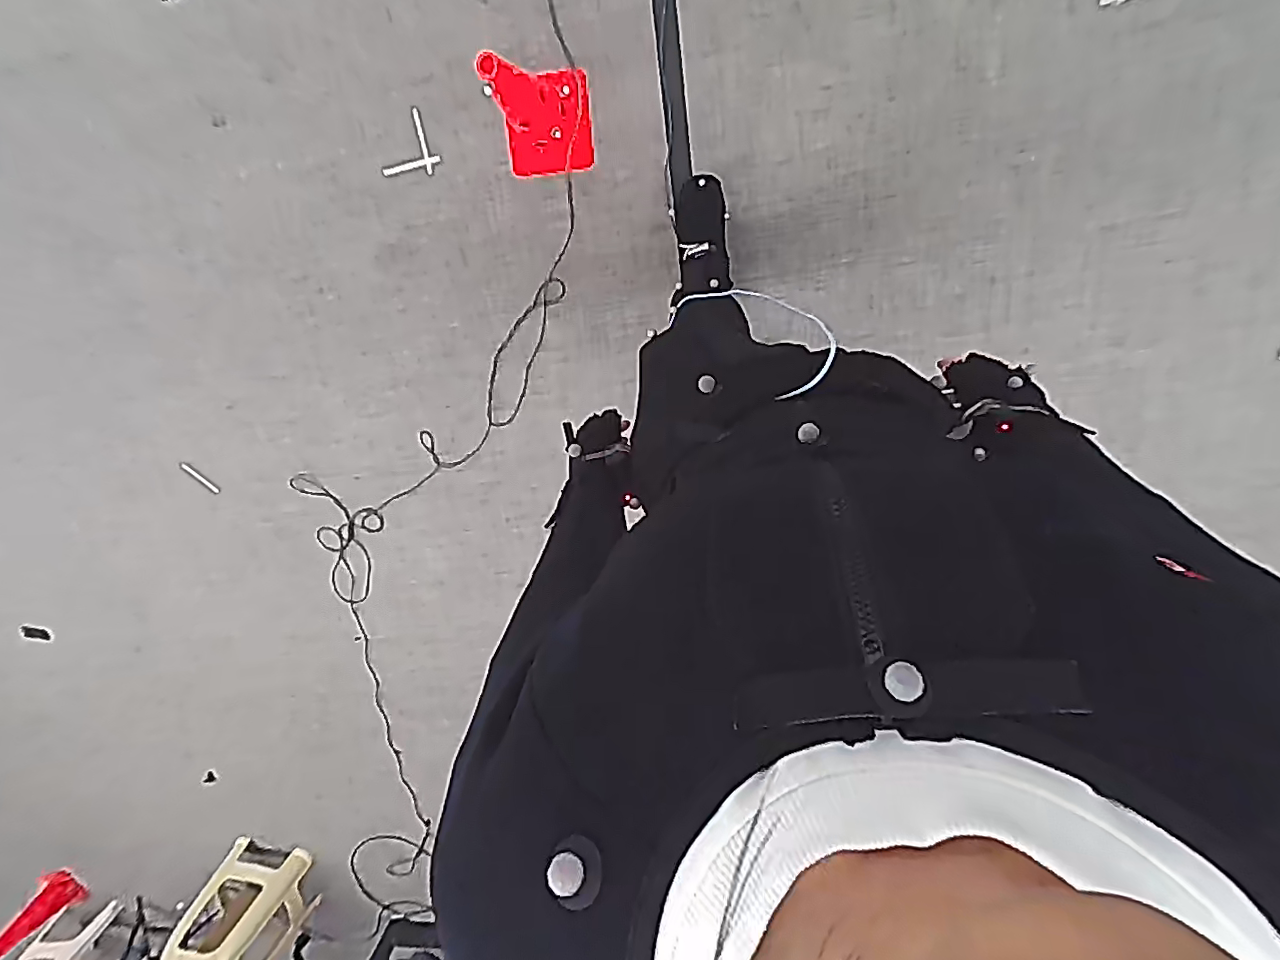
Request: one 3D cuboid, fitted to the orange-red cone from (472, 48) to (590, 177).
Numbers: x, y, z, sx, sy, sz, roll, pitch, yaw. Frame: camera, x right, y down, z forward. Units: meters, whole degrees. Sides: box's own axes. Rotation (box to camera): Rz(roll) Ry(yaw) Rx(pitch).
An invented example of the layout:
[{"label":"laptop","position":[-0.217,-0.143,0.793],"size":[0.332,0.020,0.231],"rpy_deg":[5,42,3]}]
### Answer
[{"label":"orange-red cone","position":[-0.239,-0.752,1.067],"size":[0.199,0.360,0.198],"rpy_deg":[-1,108,10]}]
